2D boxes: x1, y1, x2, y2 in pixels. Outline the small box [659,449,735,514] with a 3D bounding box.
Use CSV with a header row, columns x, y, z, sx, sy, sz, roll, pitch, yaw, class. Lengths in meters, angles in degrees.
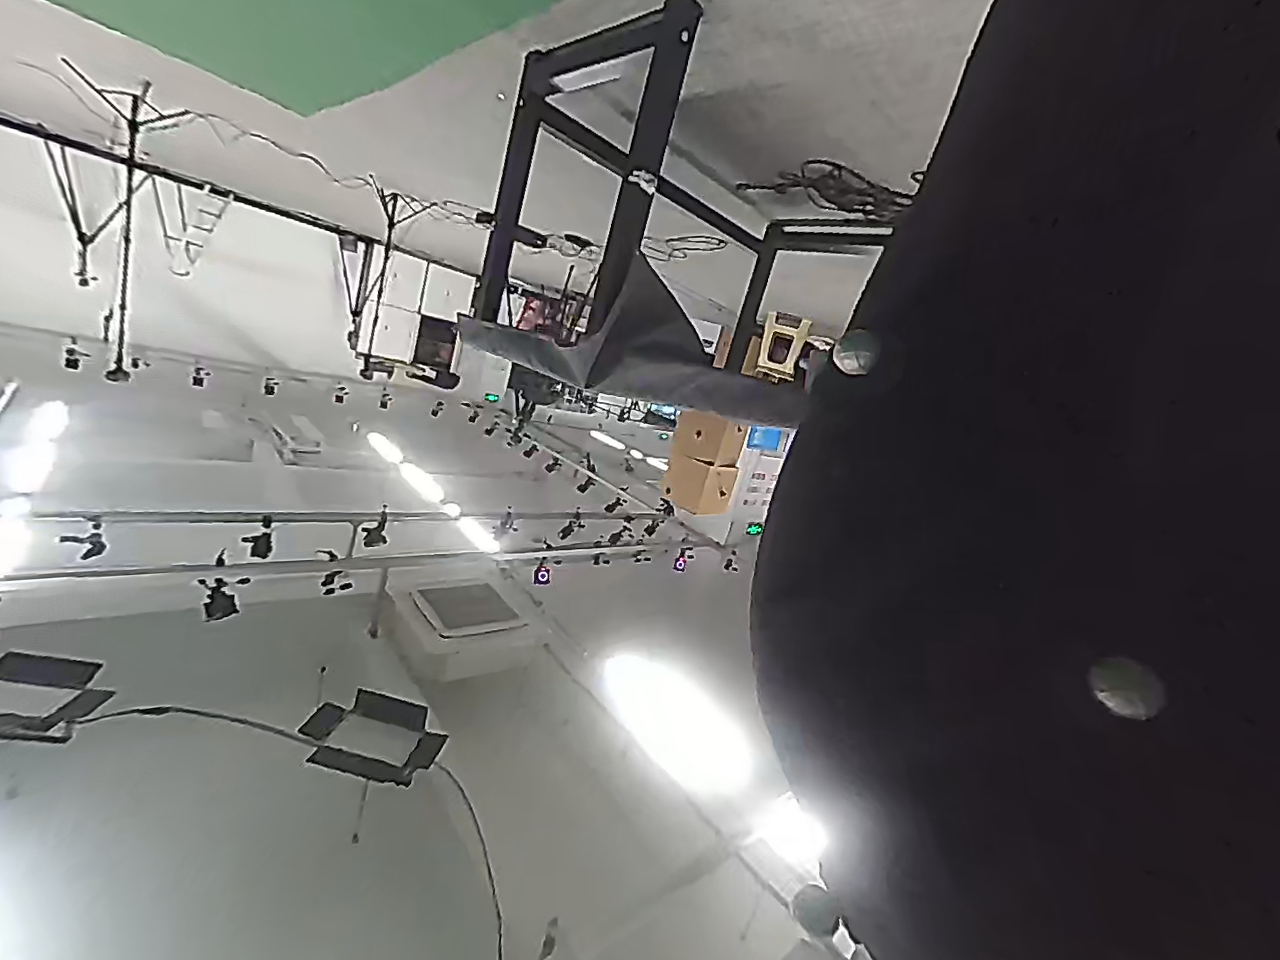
x,y,z,sx,sy,sz,roll,pitch,yaw,class
0.193,0.000,1.776,0.179,0.176,0.168,27,-163,40,small box
